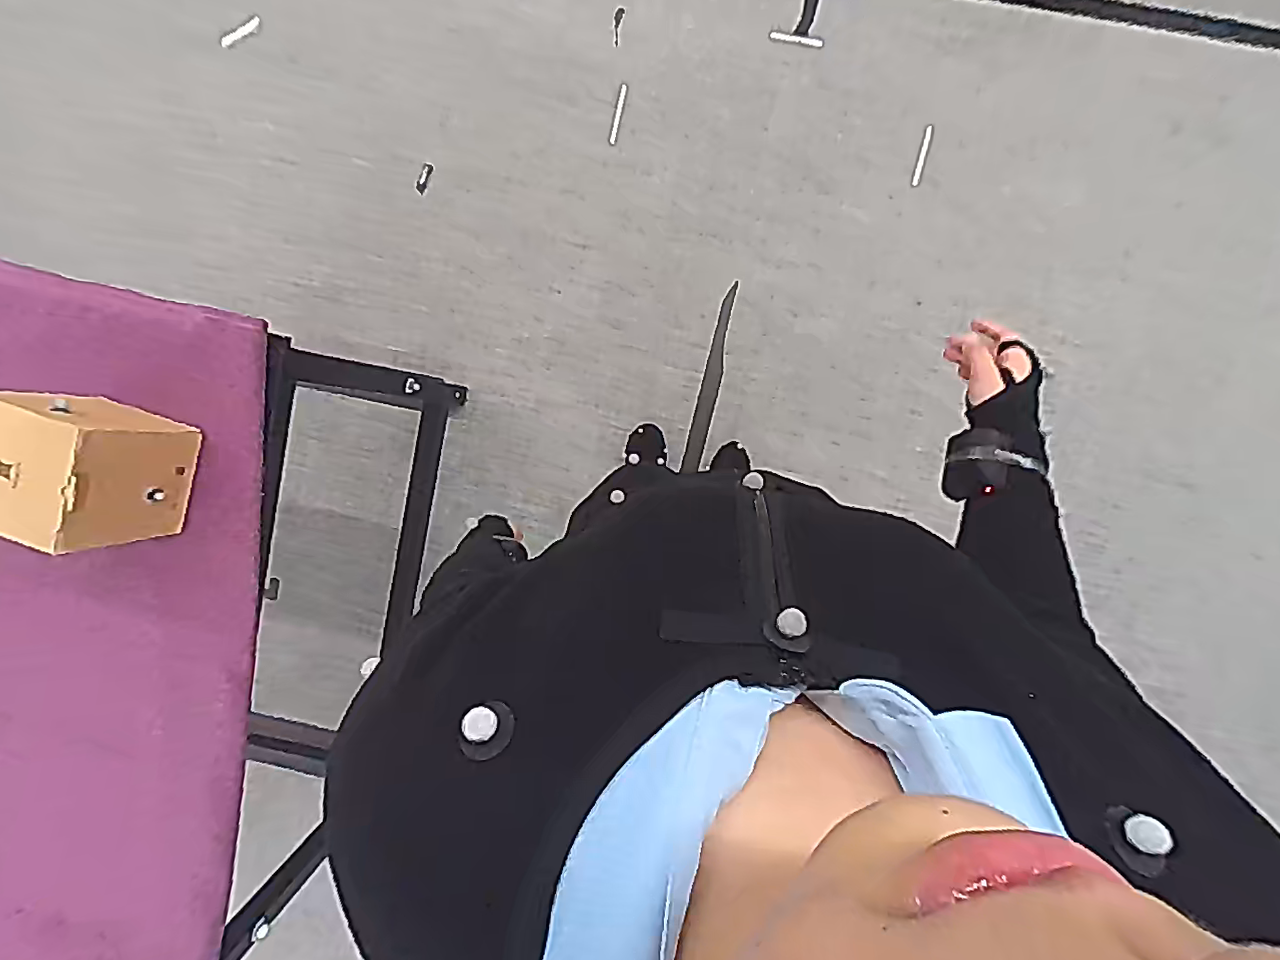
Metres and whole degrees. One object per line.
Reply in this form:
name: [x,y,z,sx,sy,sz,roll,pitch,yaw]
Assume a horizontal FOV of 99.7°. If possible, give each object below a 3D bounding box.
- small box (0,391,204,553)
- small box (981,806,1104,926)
small box: [-0.766,-0.015,0.746,0.179,0.176,0.168,17,95,4]
small box: [1.012,0.970,1.377,0.179,0.176,0.168,11,95,4]
